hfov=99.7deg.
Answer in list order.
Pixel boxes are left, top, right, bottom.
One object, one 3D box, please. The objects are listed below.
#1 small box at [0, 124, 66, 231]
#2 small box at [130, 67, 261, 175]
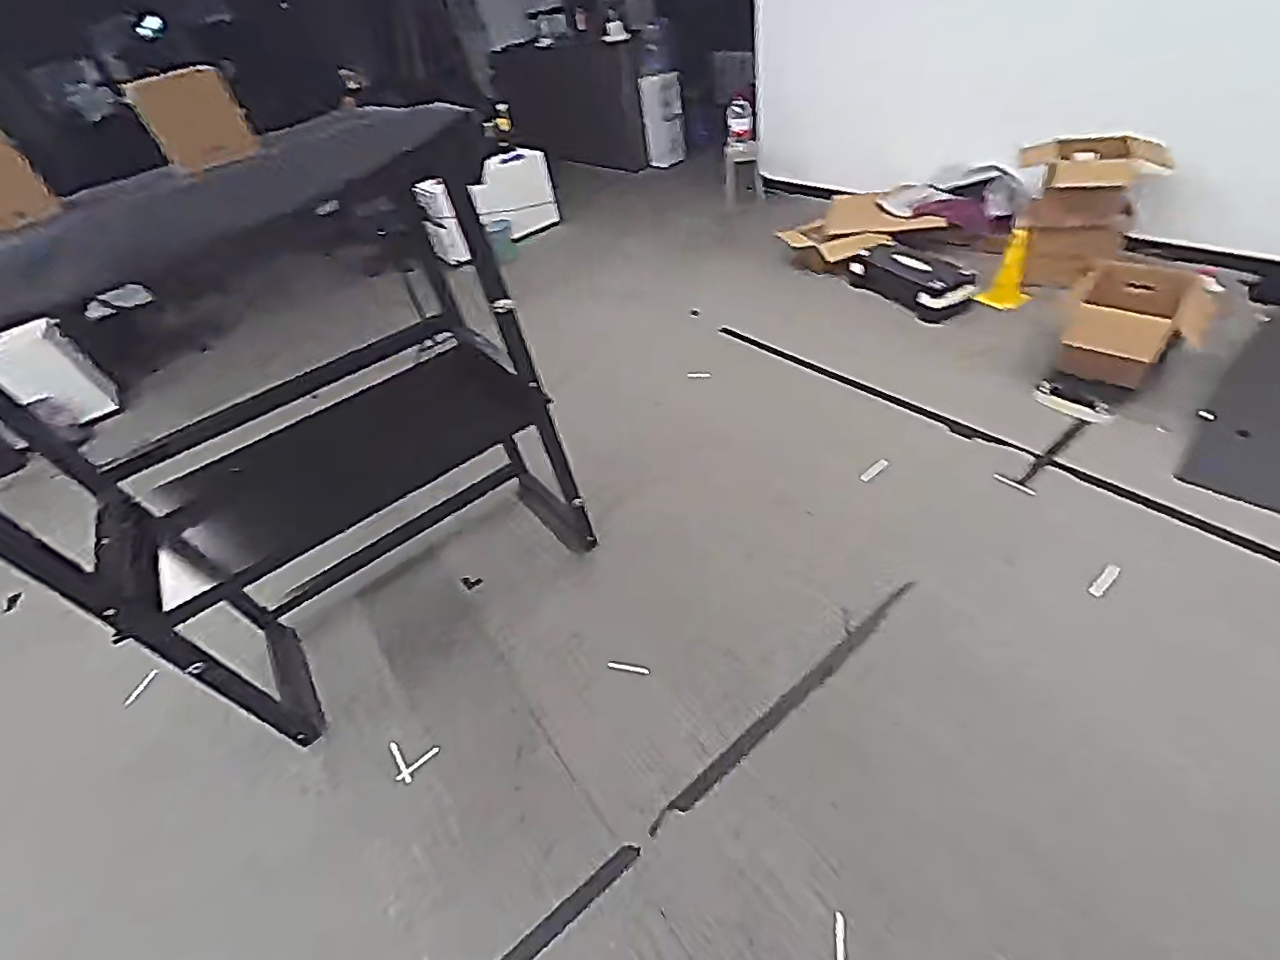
[{"bbox_3d":[-1.316,-0.605,1.085,0.168,0.176,0.179,-37,48,-23],"label":"small box"},{"bbox_3d":[-1.006,-0.823,1.237,0.179,0.176,0.168,-34,47,-21],"label":"small box"}]
